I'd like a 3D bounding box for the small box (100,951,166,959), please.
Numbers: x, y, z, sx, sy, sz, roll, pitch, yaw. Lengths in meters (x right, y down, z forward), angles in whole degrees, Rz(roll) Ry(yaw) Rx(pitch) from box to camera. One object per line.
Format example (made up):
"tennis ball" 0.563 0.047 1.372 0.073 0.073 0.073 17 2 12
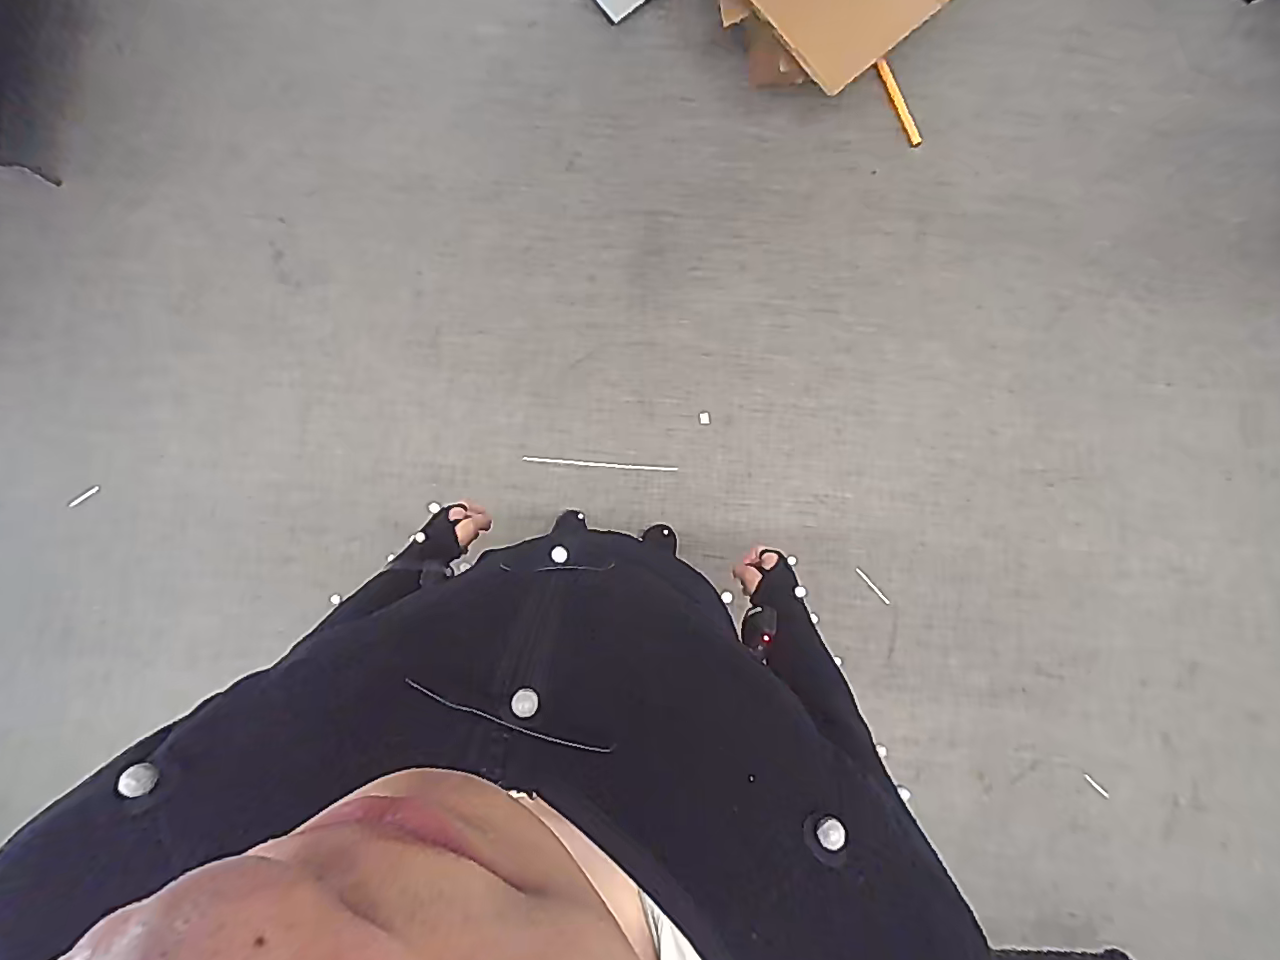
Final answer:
"small box" -1.396 1.382 1.411 0.179 0.176 0.168 5 86 -1
